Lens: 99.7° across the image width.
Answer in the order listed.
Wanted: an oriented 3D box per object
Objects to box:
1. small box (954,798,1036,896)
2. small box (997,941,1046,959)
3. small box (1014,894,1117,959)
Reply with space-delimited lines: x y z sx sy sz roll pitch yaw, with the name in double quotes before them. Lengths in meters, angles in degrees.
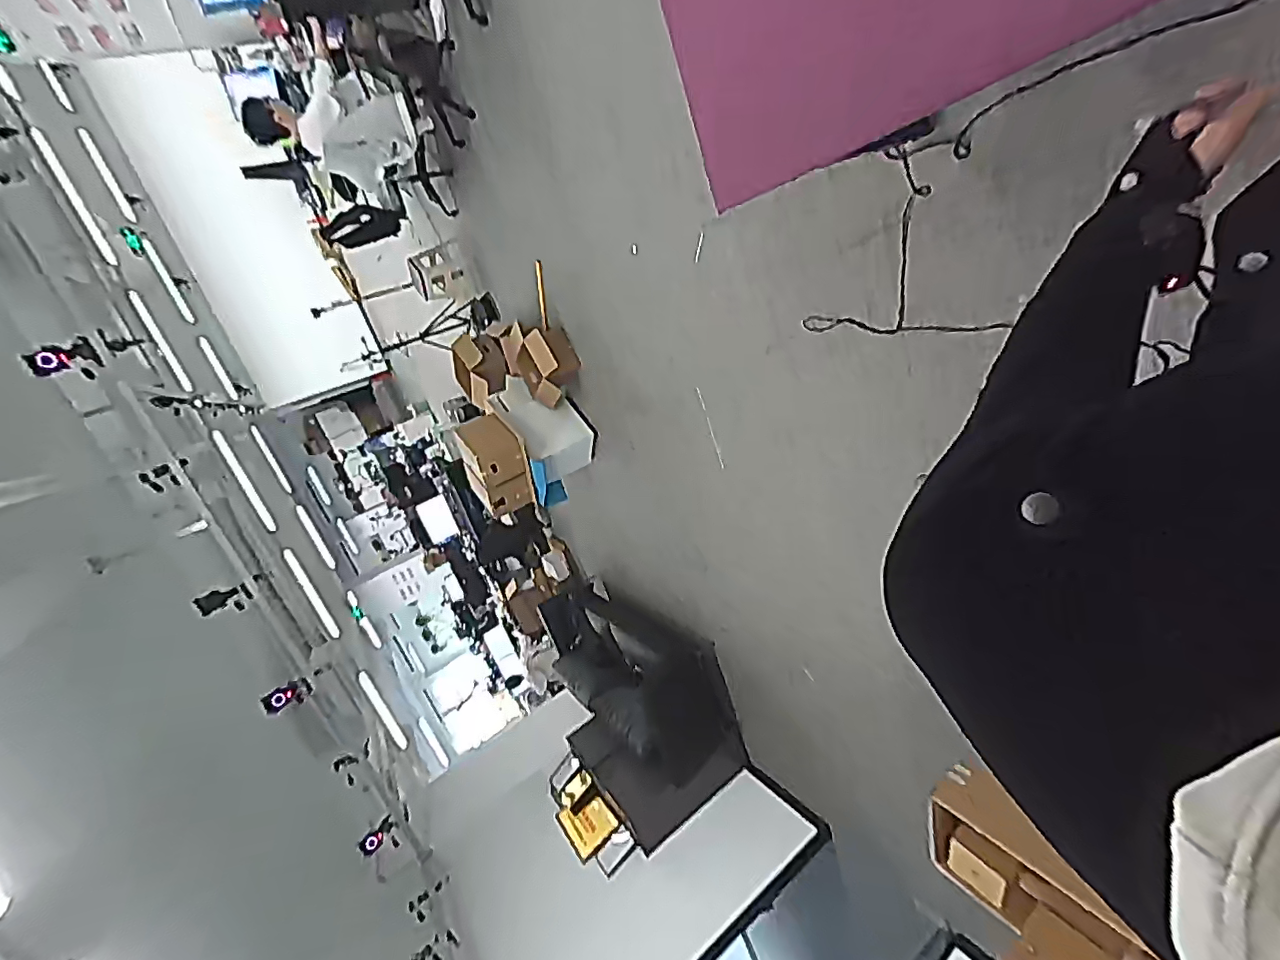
"small box" 1.169 1.199 1.780 0.168 0.176 0.179 29 140 52
"small box" 1.037 1.376 1.425 0.179 0.176 0.168 22 134 56
"small box" 1.171 1.310 1.493 0.179 0.176 0.168 26 137 55
